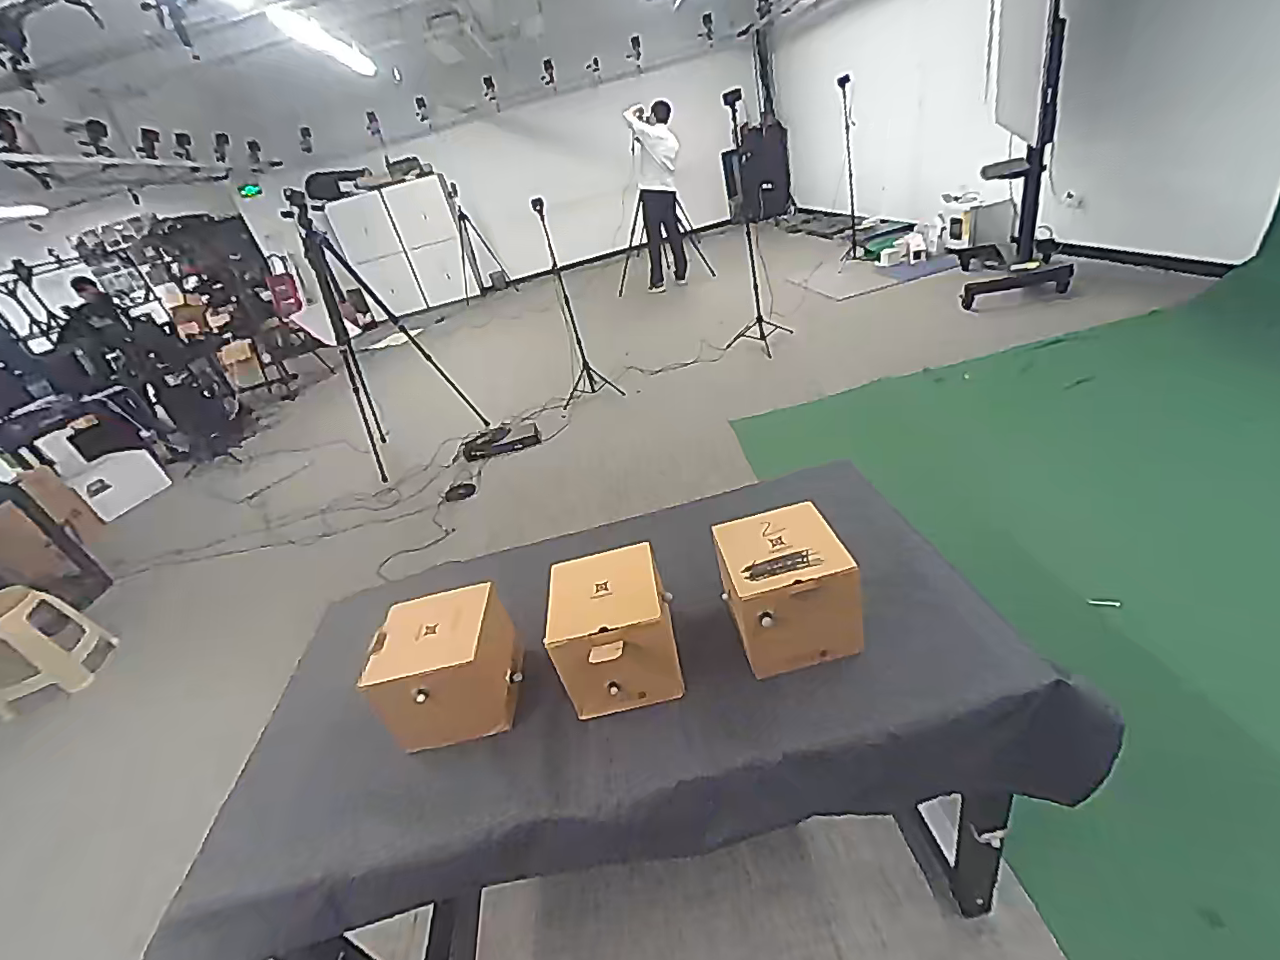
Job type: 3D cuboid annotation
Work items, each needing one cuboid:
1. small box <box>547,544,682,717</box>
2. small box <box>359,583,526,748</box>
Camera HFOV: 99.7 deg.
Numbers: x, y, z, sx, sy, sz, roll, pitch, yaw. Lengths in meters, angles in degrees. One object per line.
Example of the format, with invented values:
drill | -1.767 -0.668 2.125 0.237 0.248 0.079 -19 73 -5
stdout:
small box | -0.037 0.232 0.844 0.168 0.176 0.179 -14 30 2
small box | -0.299 0.296 0.858 0.179 0.176 0.168 -13 31 2
